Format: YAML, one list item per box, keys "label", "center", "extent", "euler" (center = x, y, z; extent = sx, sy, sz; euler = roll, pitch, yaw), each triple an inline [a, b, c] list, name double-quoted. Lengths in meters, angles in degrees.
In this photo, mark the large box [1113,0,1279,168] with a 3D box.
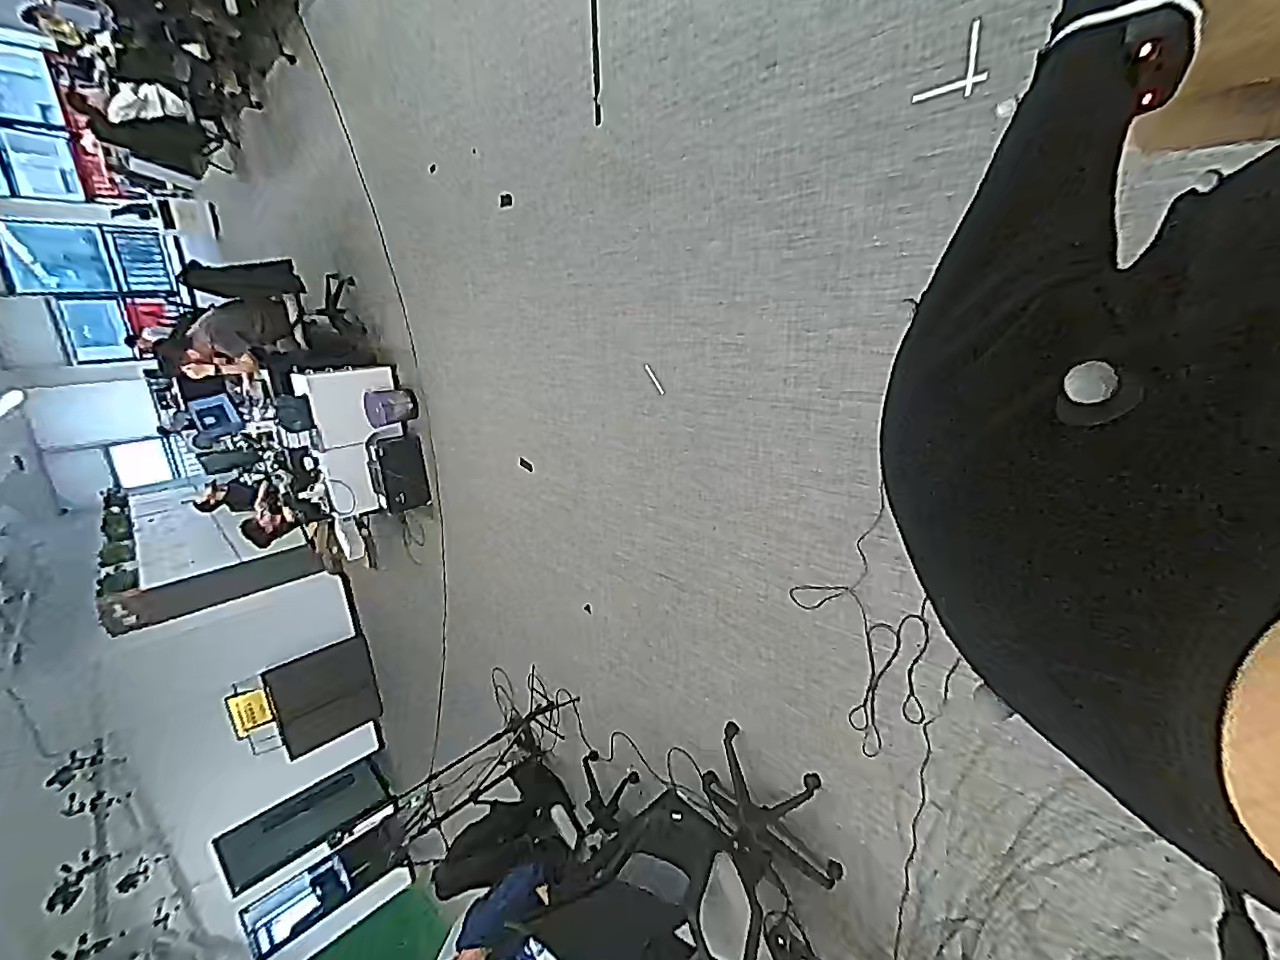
- label: "large box"
  center: [0.656, -0.453, 0.401]
  extent: [0.408, 0.320, 0.320]
  euler: [17, 118, 40]
